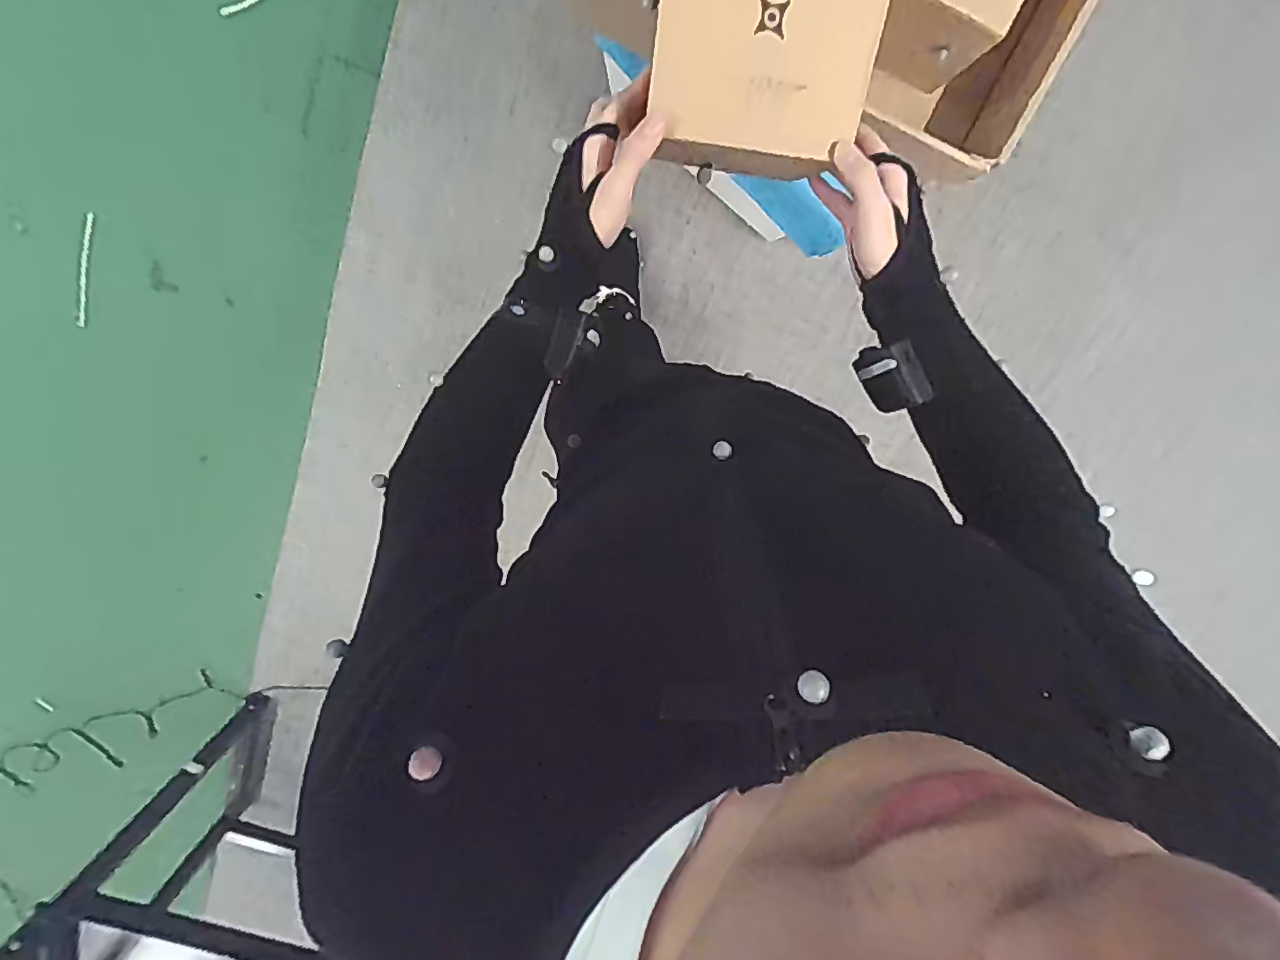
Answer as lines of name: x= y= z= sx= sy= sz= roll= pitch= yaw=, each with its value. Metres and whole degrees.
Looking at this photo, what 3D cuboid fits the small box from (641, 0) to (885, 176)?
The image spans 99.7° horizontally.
small box: x=0.093 y=-0.376 z=0.459 sx=0.168 sy=0.176 sz=0.179 roll=8 pitch=114 yaw=-3
